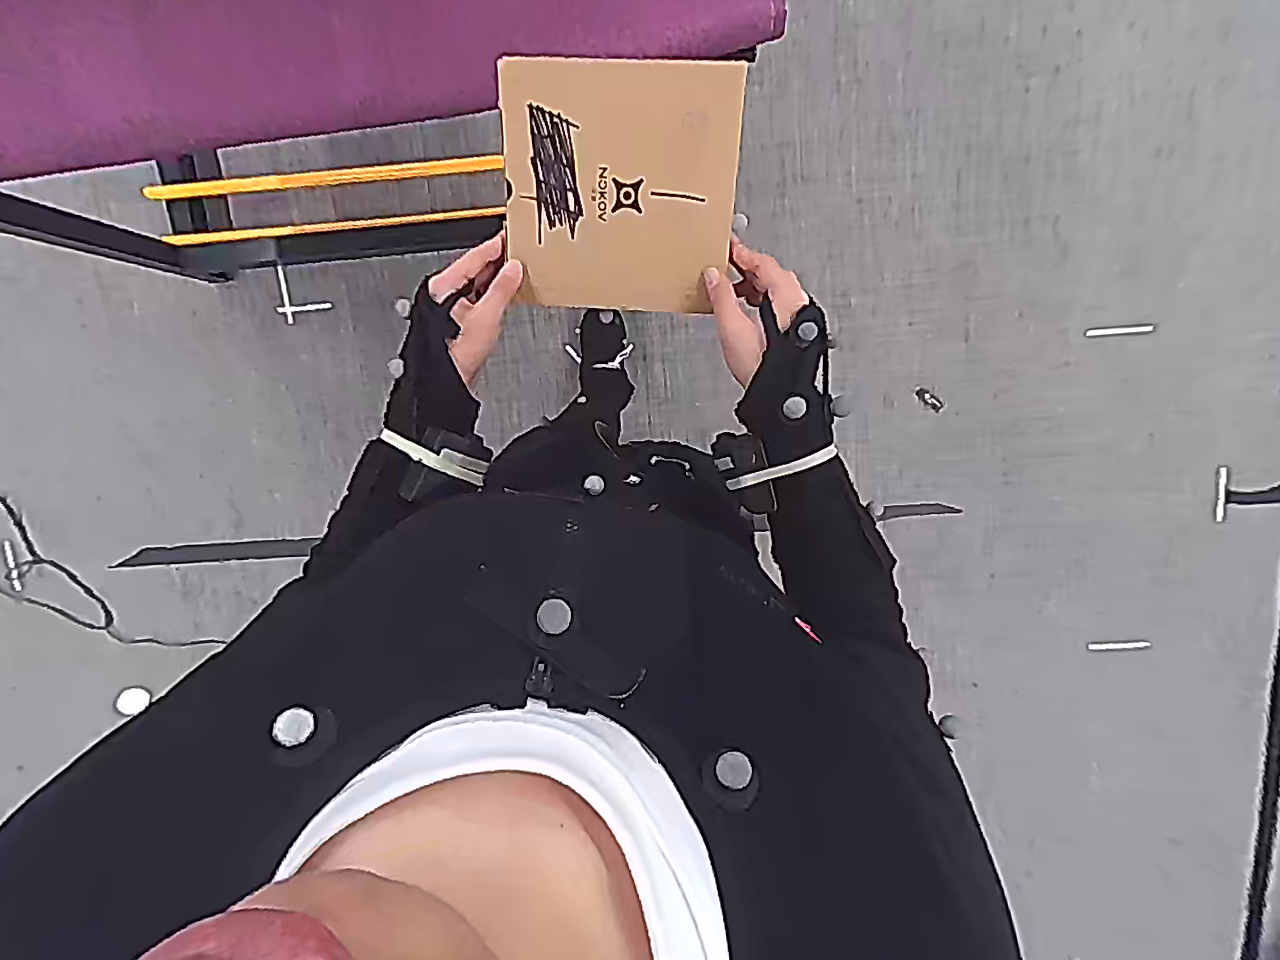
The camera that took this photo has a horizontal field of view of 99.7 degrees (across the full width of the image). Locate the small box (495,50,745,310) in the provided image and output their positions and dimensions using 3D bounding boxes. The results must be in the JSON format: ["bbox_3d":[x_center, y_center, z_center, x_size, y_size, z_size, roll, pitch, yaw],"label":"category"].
[{"bbox_3d":[-0.011,-0.240,0.469,0.179,0.176,0.168,5,111,4],"label":"small box"}]
